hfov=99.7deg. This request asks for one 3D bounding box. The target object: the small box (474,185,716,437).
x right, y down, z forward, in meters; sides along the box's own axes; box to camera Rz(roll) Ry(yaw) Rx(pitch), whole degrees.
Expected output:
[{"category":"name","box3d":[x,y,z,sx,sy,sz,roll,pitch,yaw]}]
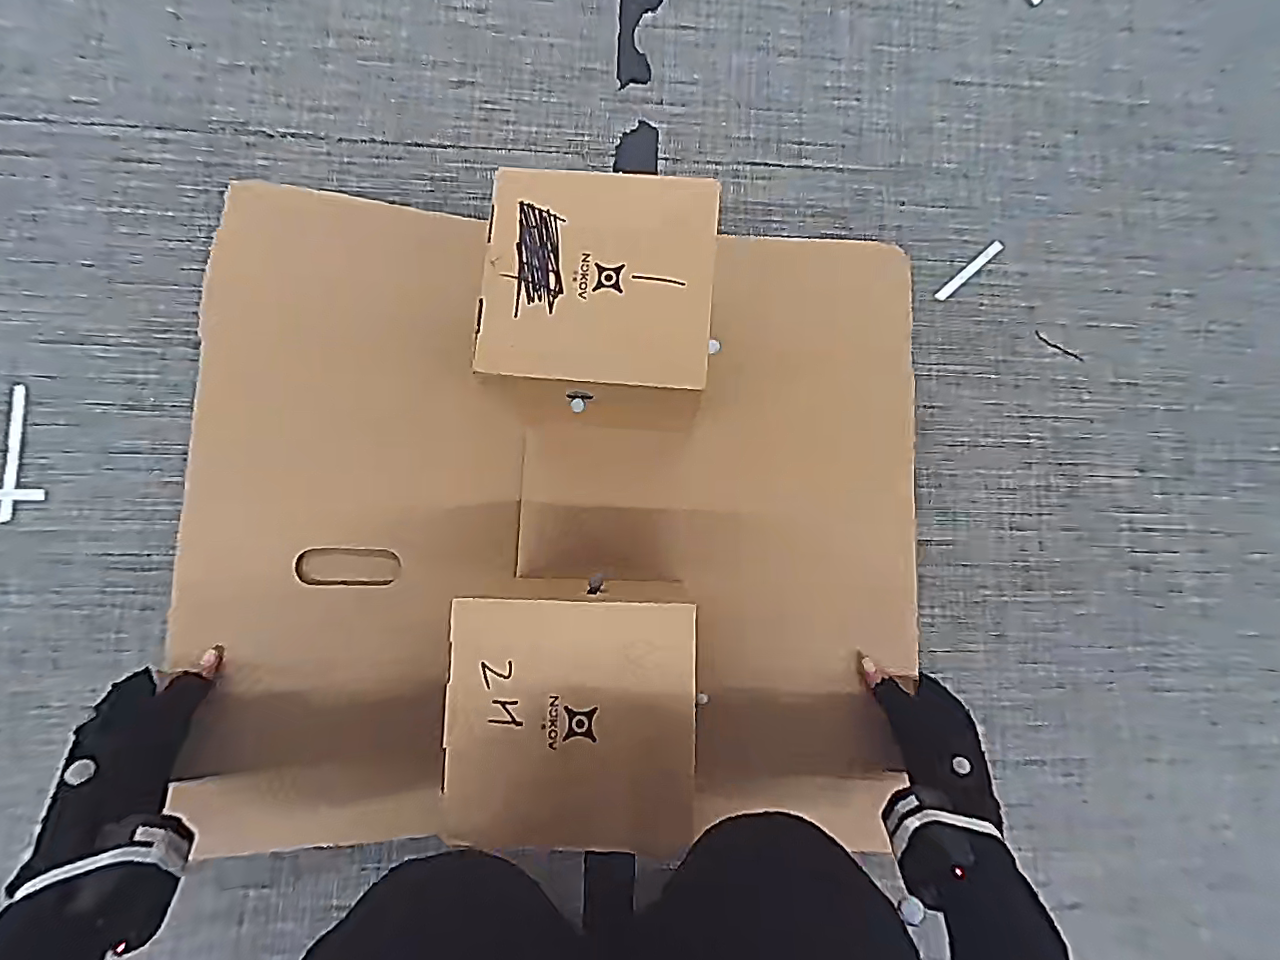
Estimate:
[{"category":"small box","box3d":[-0.032,-0.138,0.497,0.179,0.176,0.168,5,84,1]}]

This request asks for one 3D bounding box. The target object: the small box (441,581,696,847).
[{"category":"small box","box3d":[-0.047,0.177,0.463,0.179,0.176,0.168,2,84,3]}]
